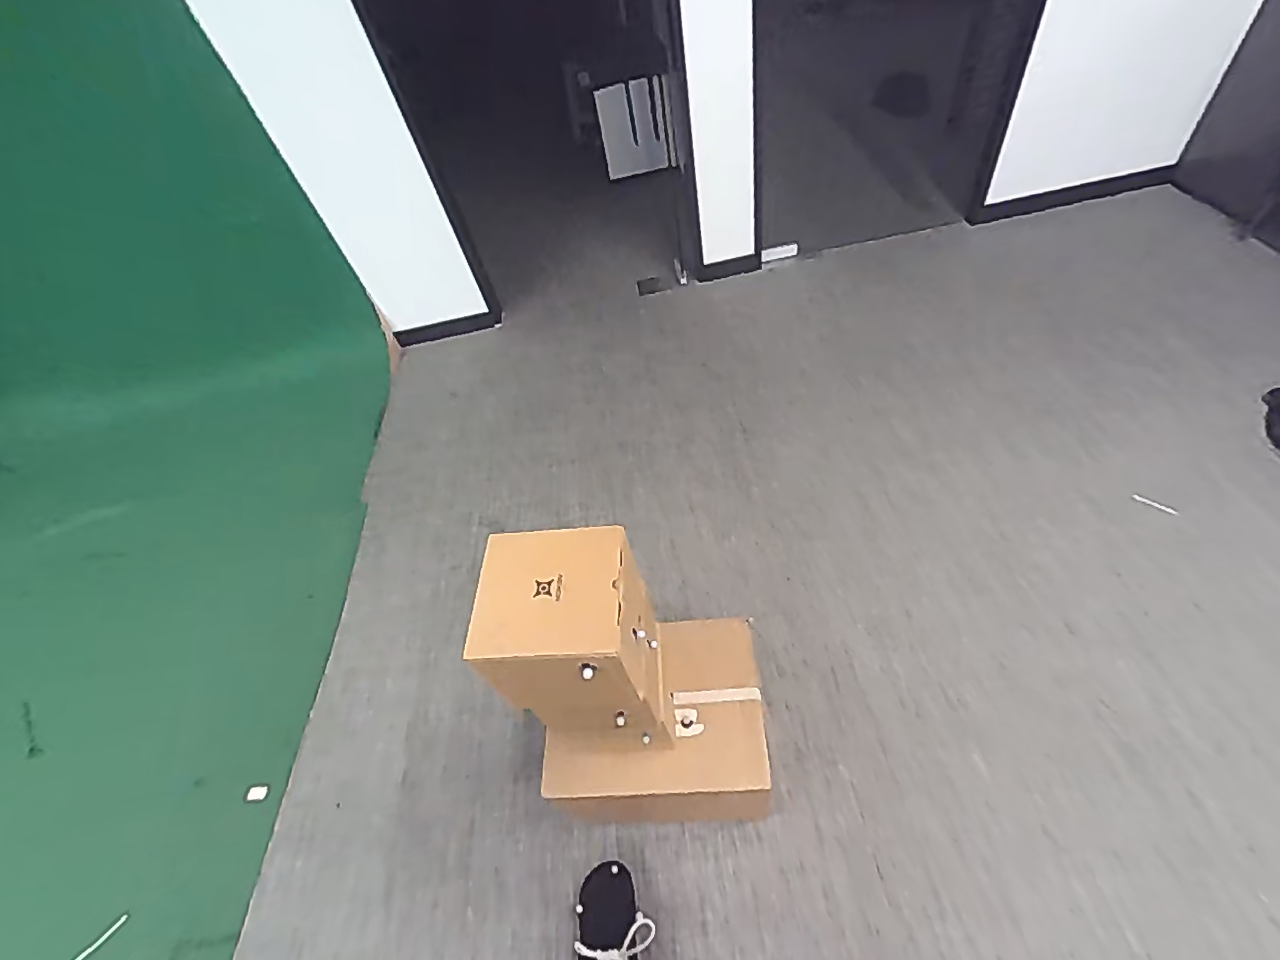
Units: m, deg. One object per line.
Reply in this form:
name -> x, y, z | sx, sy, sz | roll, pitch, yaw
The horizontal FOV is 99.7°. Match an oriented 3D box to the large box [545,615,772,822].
large box -> 0.044, 0.508, 1.134 | 0.408, 0.320, 0.320 | -6, 51, 6

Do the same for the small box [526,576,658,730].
small box -> -0.065, 0.268, 0.821 | 0.168, 0.176, 0.179 | -6, 49, 5

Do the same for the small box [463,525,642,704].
small box -> -0.096, 0.176, 0.689 | 0.179, 0.176, 0.168 | -5, 50, 6
